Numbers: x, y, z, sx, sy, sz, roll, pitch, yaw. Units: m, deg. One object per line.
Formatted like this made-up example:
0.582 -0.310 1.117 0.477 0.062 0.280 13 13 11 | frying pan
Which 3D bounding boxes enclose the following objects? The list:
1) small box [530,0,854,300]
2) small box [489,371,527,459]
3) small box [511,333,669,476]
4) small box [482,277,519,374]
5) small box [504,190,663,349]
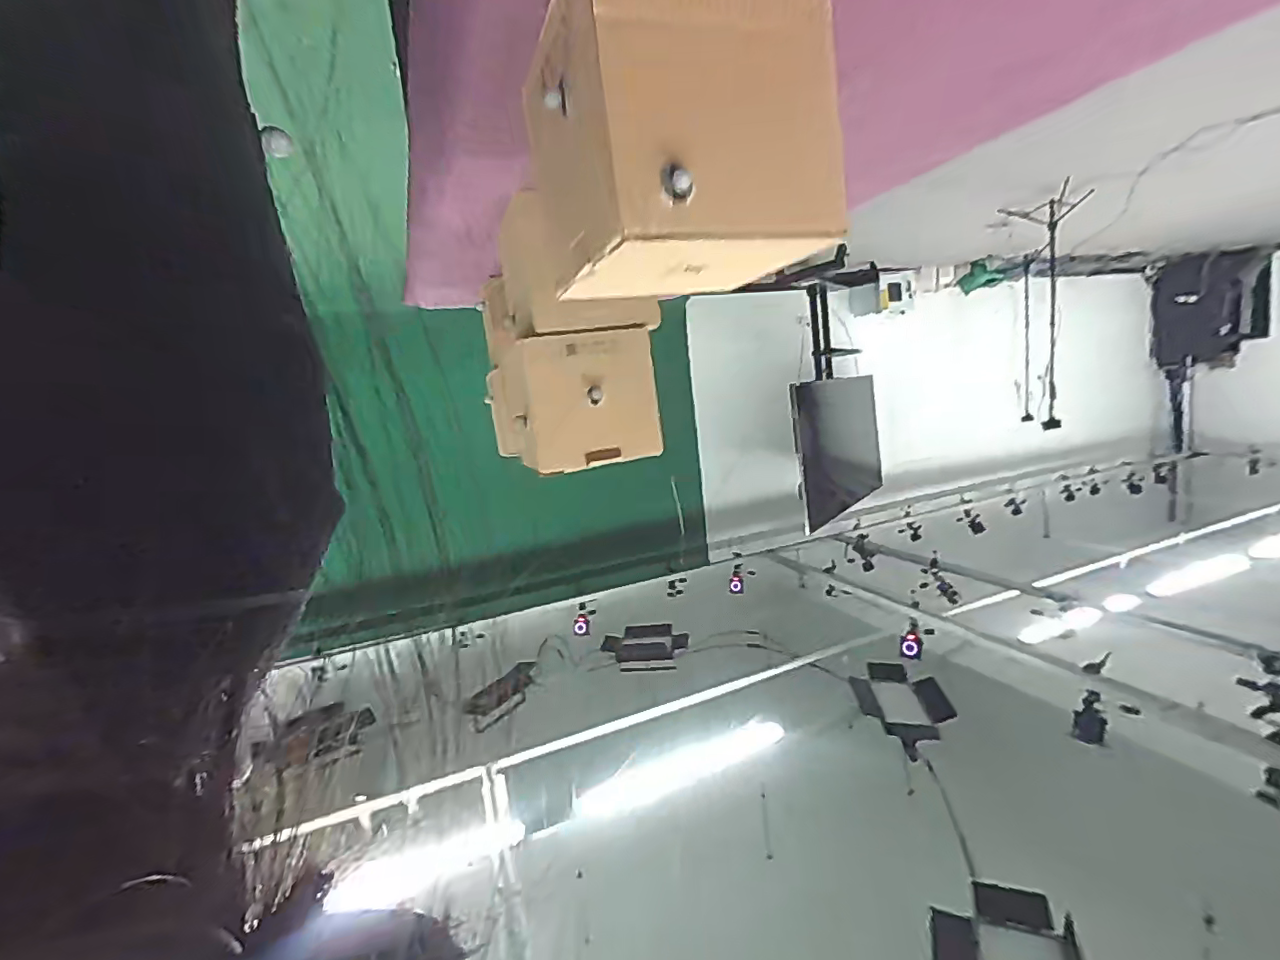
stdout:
0.030 -0.241 0.400 0.179 0.176 0.168 -11 -171 -20 | small box
-0.201 -0.143 1.109 0.179 0.176 0.168 -11 -173 -18 | small box
-0.077 -0.107 0.745 0.168 0.176 0.179 -10 -172 -18 | small box
-0.207 -0.305 1.076 0.179 0.176 0.168 -11 -173 -18 | small box
-0.083 -0.271 0.732 0.168 0.176 0.179 -11 -171 -19 | small box
